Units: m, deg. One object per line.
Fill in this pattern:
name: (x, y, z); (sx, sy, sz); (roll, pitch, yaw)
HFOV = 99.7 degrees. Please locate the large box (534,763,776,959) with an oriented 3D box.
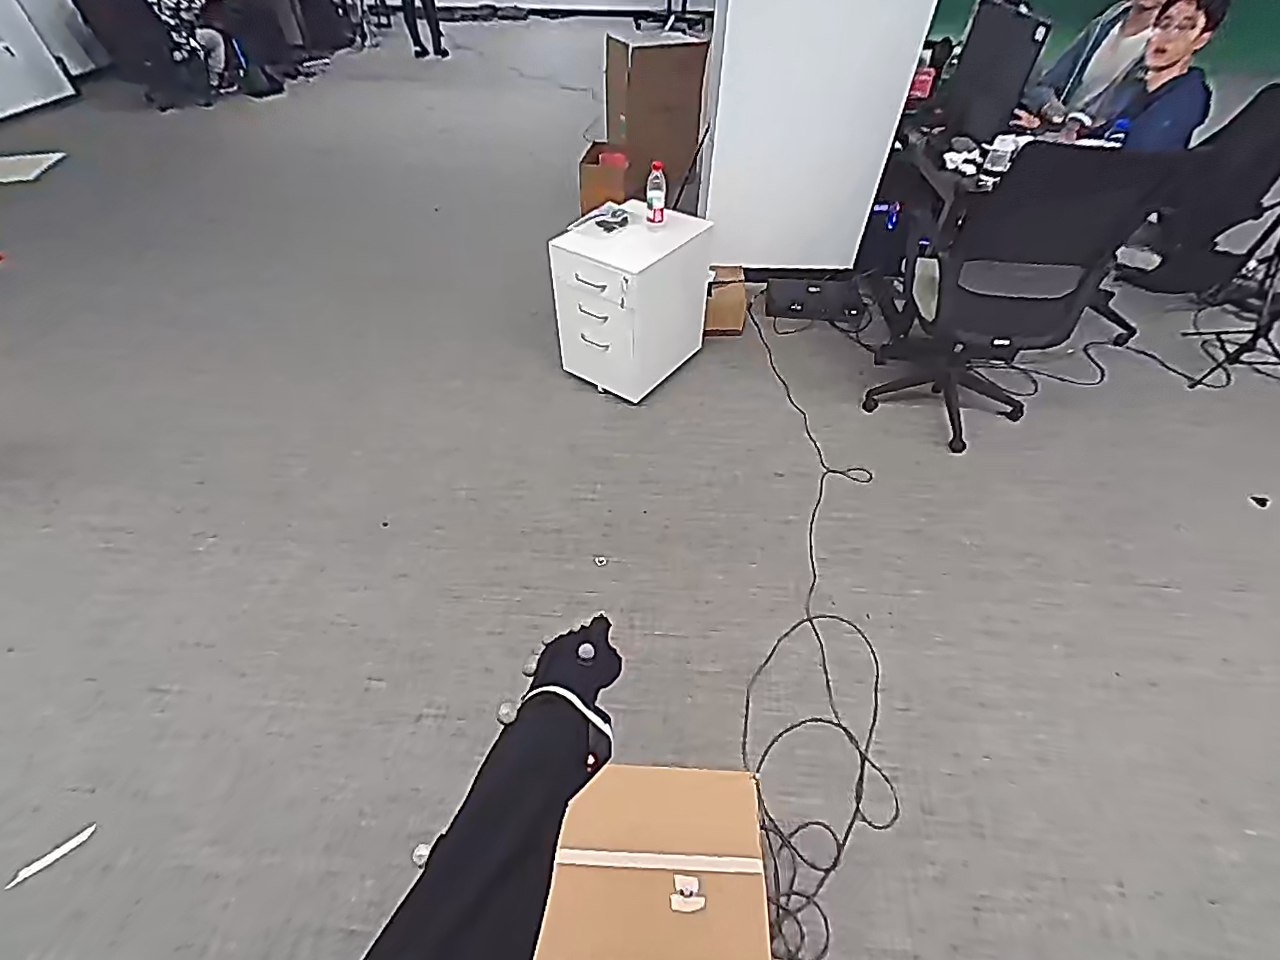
large box: (0.028, 0.790, 1.085); (0.408, 0.320, 0.320); (2, 47, 2)
